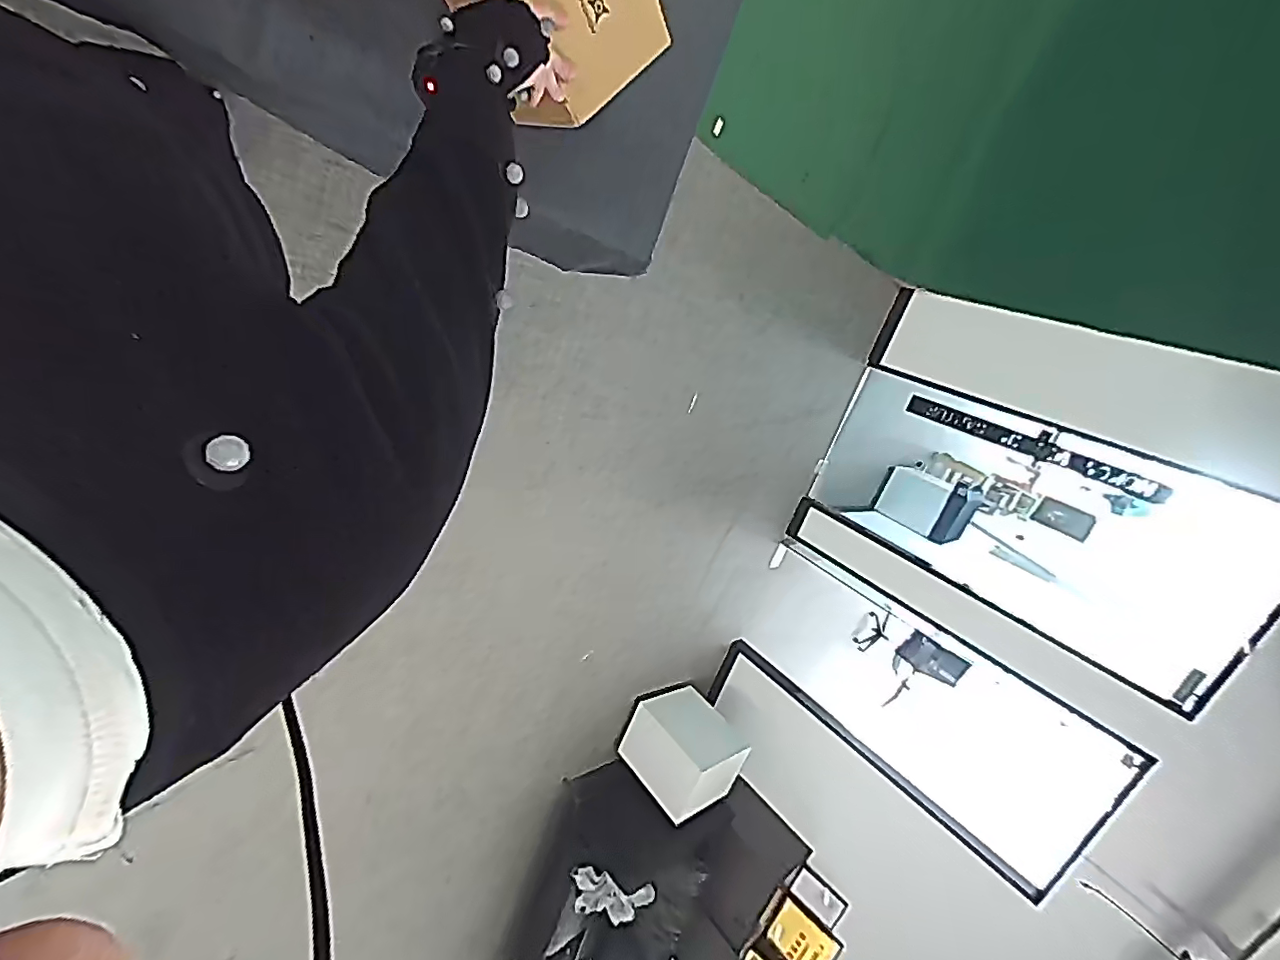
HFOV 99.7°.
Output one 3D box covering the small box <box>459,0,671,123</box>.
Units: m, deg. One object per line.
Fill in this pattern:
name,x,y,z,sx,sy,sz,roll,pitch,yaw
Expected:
small box,-0.099,-0.580,0.672,0.179,0.176,0.168,-48,141,-8
